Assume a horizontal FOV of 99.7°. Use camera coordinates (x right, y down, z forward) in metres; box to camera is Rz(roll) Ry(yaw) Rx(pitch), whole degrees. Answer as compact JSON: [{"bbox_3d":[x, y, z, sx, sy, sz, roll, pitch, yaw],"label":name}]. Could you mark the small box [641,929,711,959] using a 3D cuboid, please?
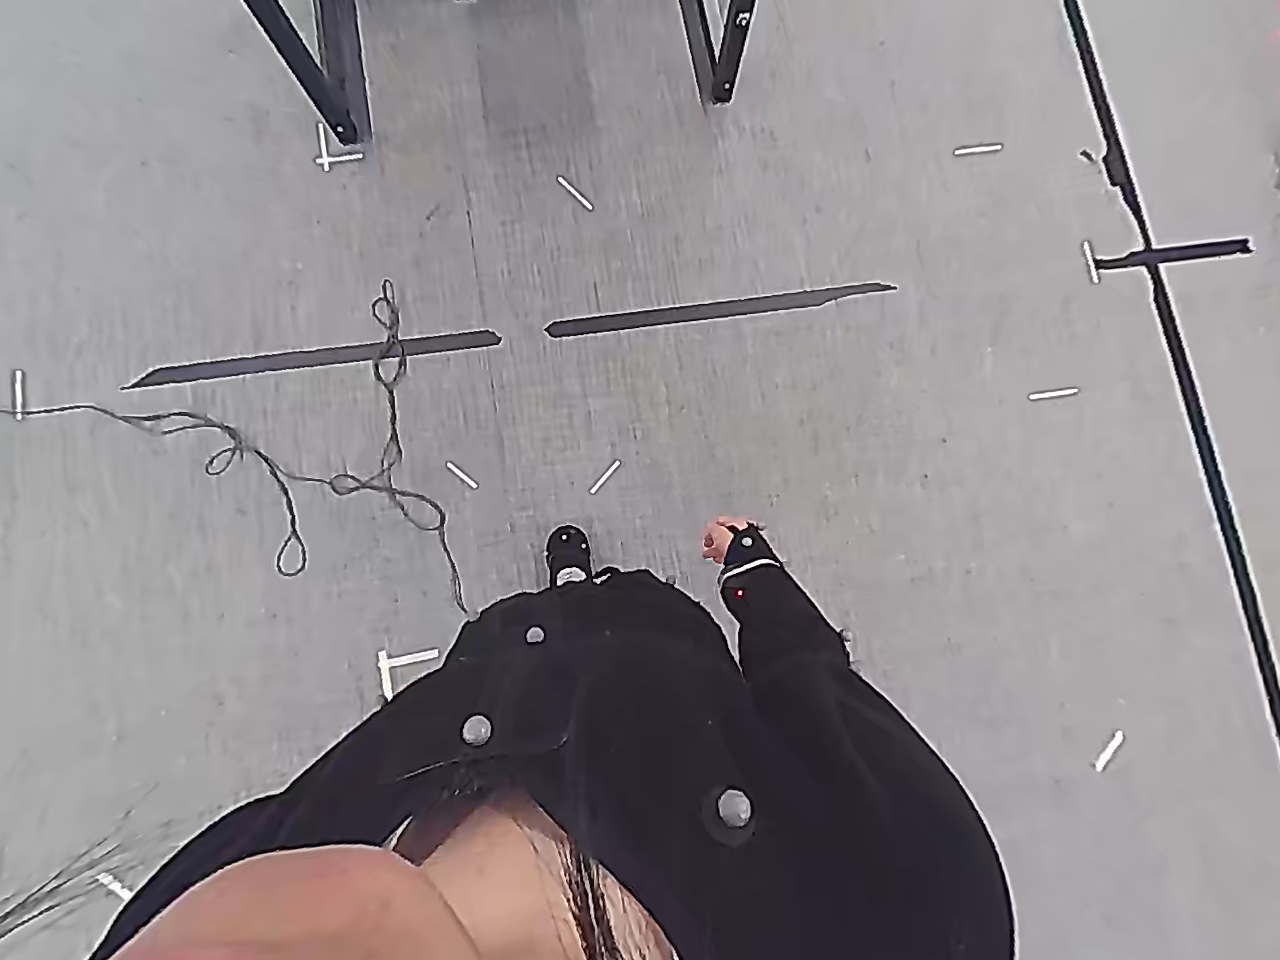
[{"bbox_3d":[0.096,1.237,1.310,0.168,0.176,0.179,-8,83,-3],"label":"small box"}]
